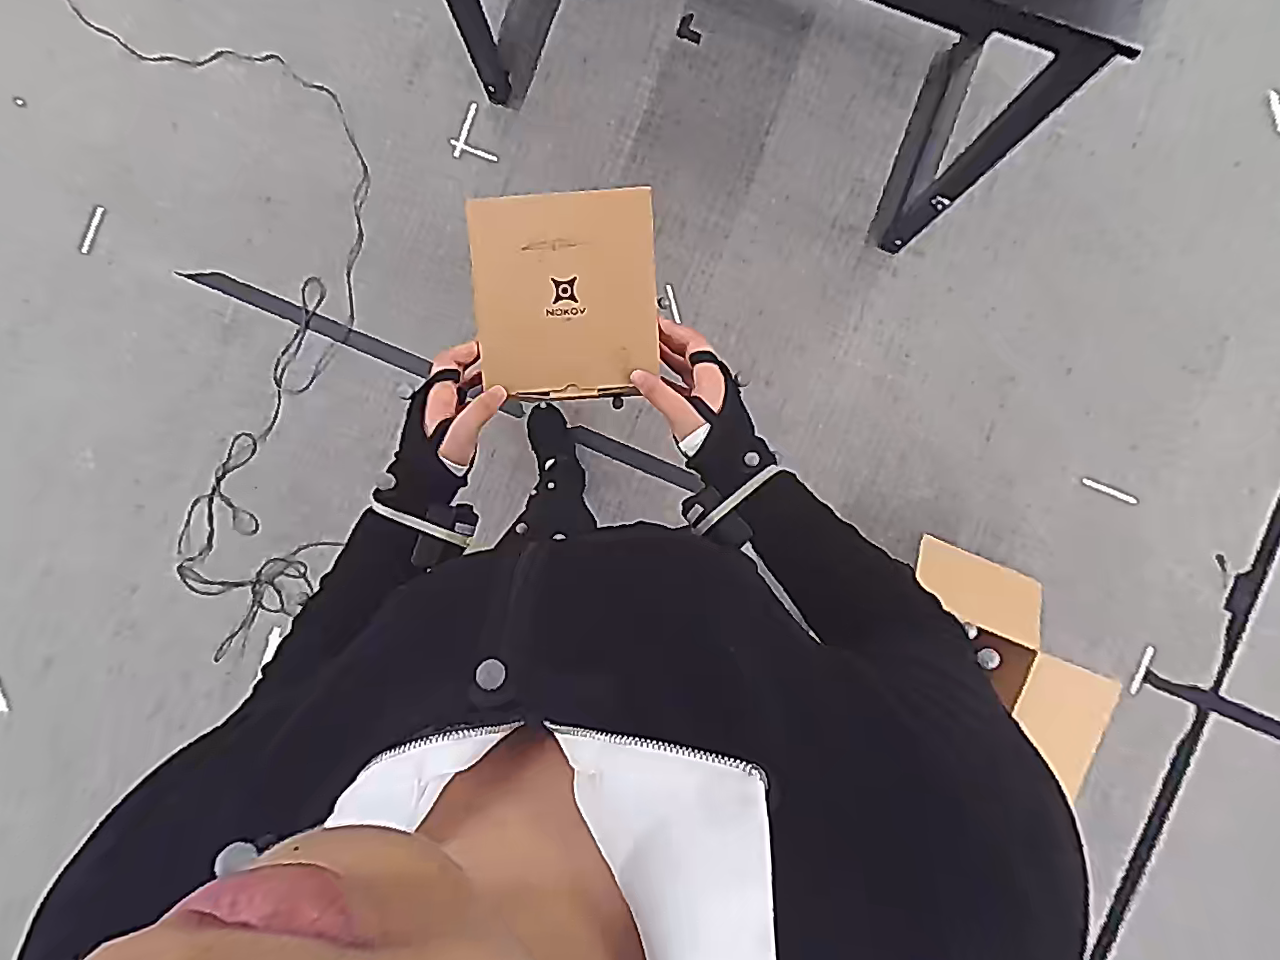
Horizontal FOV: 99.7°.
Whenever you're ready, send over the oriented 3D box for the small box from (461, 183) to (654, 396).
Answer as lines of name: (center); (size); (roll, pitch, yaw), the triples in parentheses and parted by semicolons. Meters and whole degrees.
small box: (-0.071, -0.179, 0.565); (0.168, 0.176, 0.179); (-4, 96, 1)
